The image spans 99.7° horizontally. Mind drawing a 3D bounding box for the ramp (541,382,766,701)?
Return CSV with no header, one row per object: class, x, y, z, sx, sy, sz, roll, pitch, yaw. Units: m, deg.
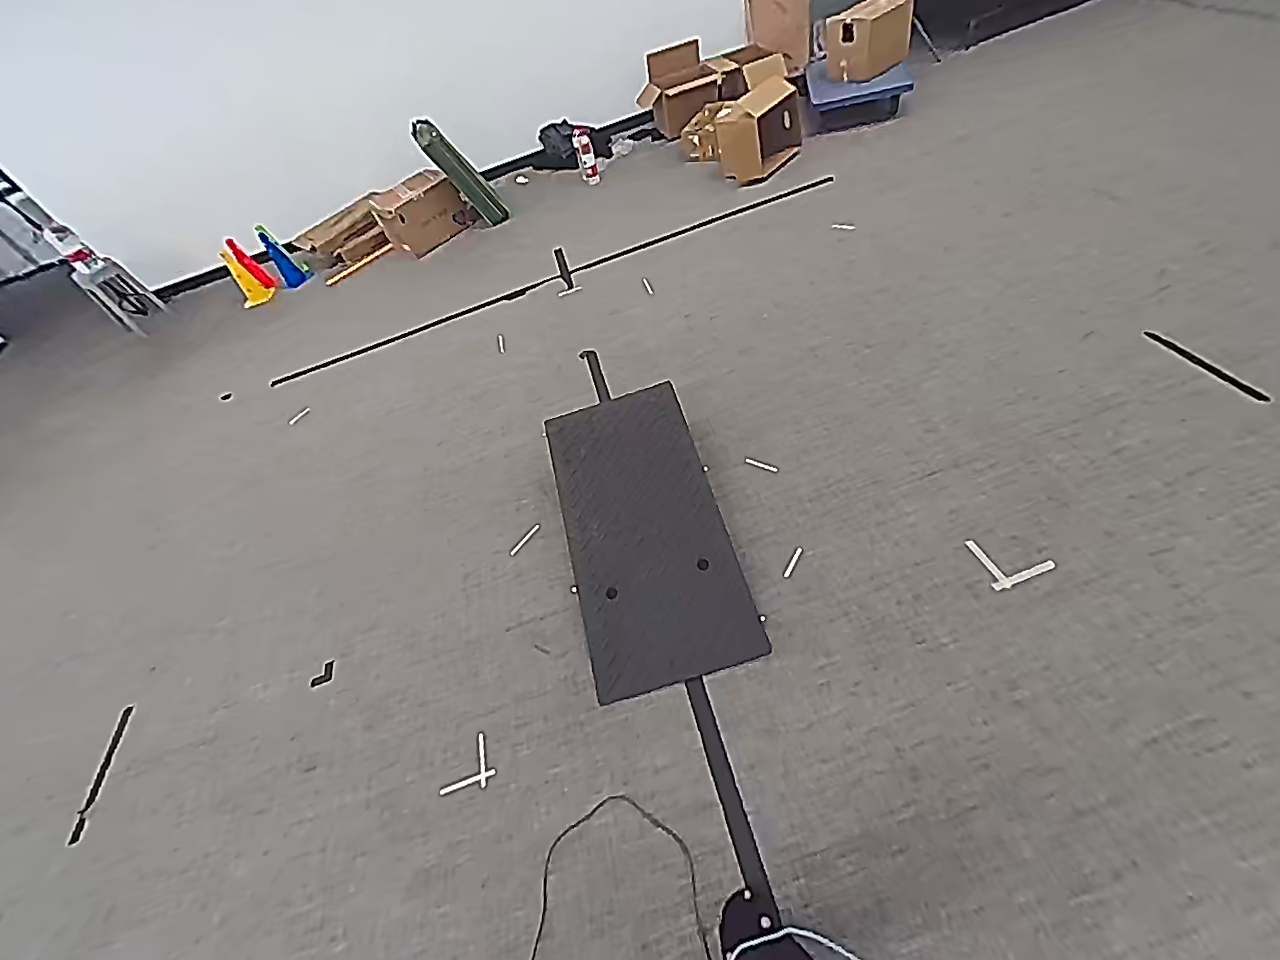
ramp,-0.005,0.125,1.718,0.509,0.206,0.991,-19,49,0
